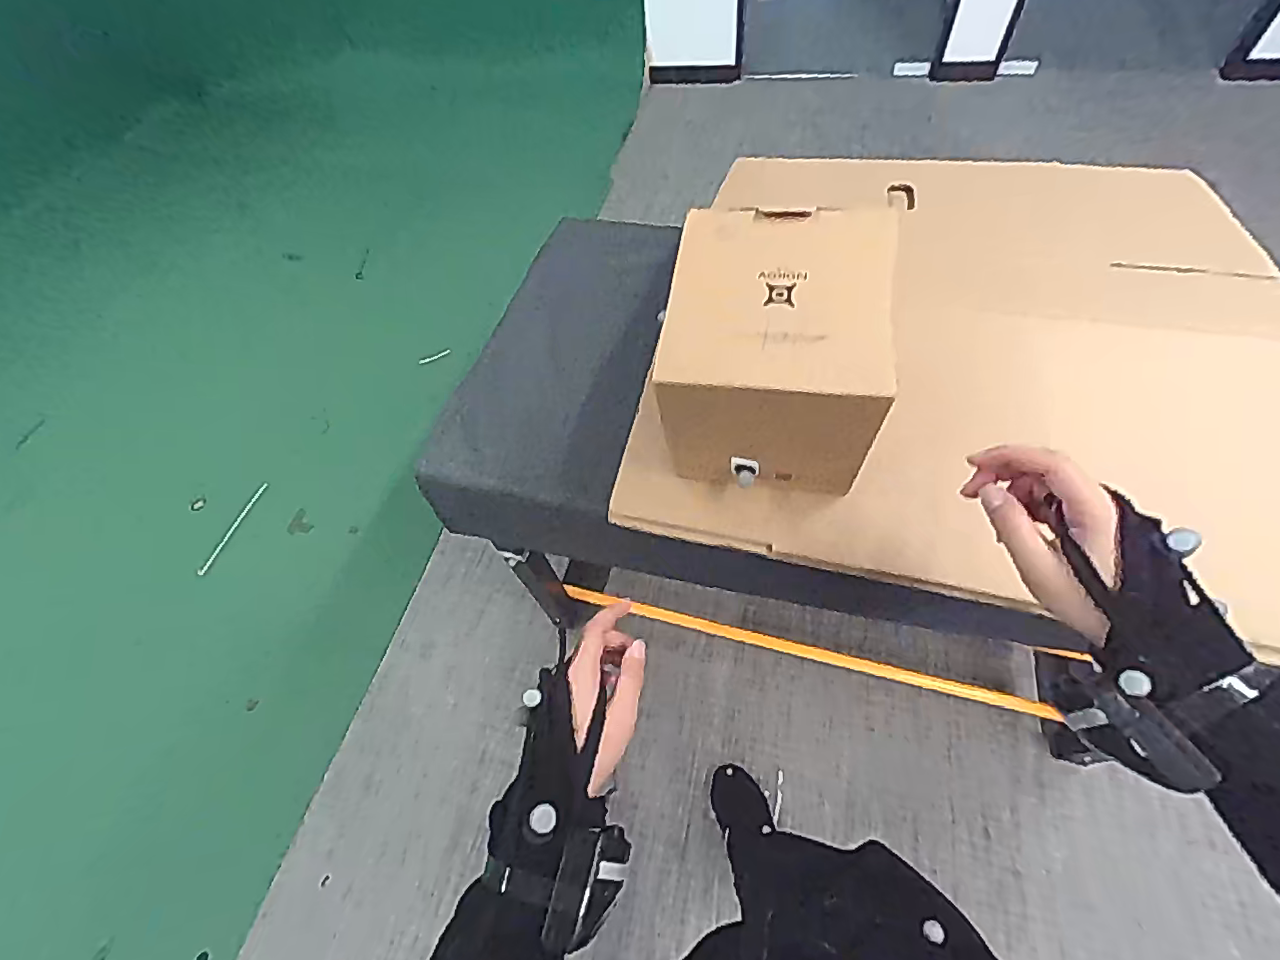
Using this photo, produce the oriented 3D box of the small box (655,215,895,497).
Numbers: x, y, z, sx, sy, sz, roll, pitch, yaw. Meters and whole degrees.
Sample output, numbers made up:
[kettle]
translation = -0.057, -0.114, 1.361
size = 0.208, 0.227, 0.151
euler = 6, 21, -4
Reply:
[small box]
translation = 0.116, -0.102, 0.477
size = 0.168, 0.176, 0.179
euler = 5, 67, 13
